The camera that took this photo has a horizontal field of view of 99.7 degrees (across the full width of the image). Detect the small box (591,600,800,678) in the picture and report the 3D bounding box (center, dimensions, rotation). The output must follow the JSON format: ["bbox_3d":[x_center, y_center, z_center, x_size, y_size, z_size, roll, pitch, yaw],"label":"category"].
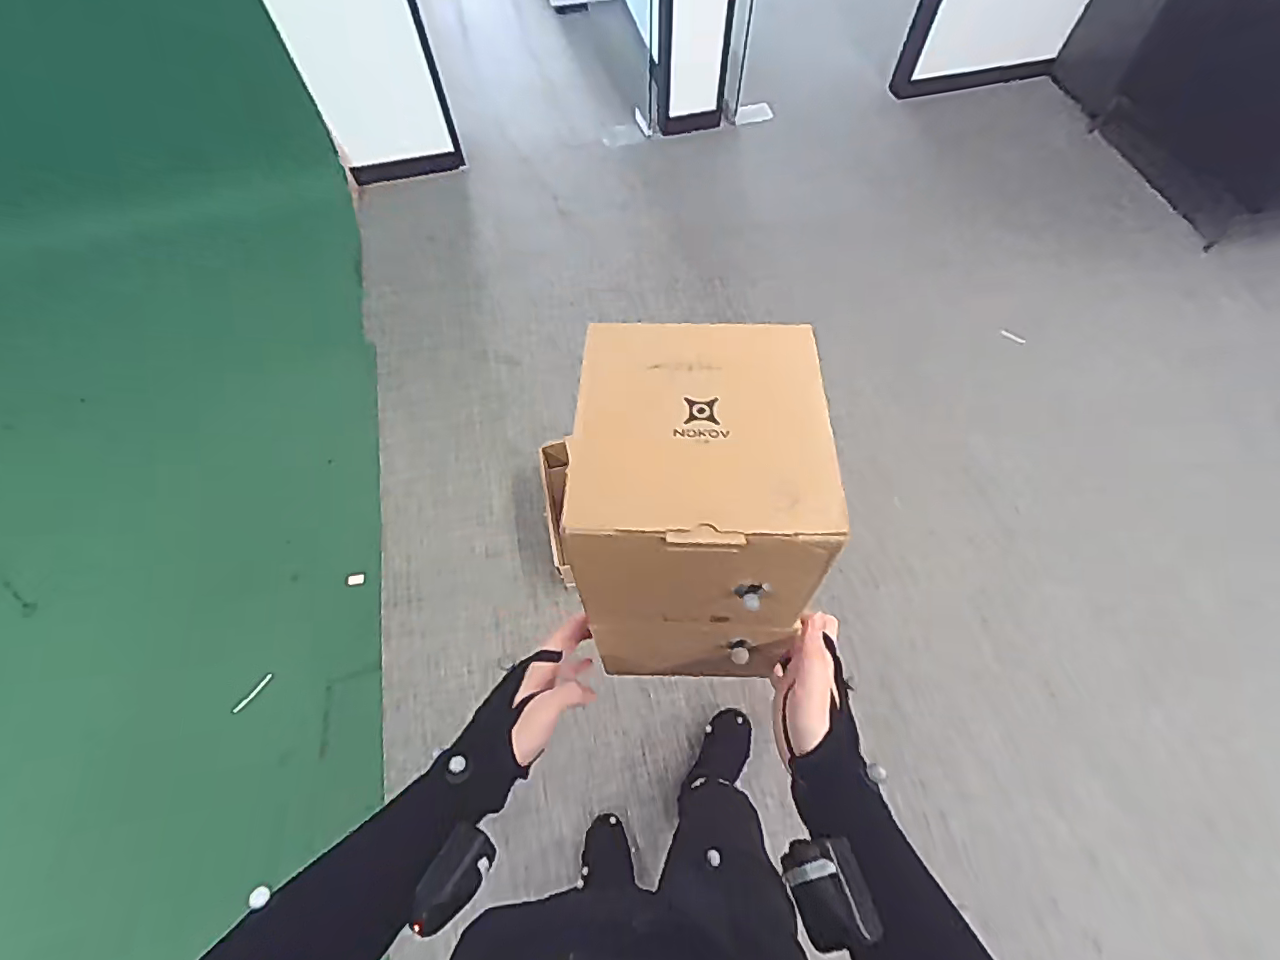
[{"bbox_3d":[0.052,0.098,0.556,0.179,0.176,0.168,0,56,4],"label":"small box"}]

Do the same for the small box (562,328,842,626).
[{"bbox_3d":[0.043,0.004,0.422,0.168,0.176,0.179,1,56,3],"label":"small box"}]
